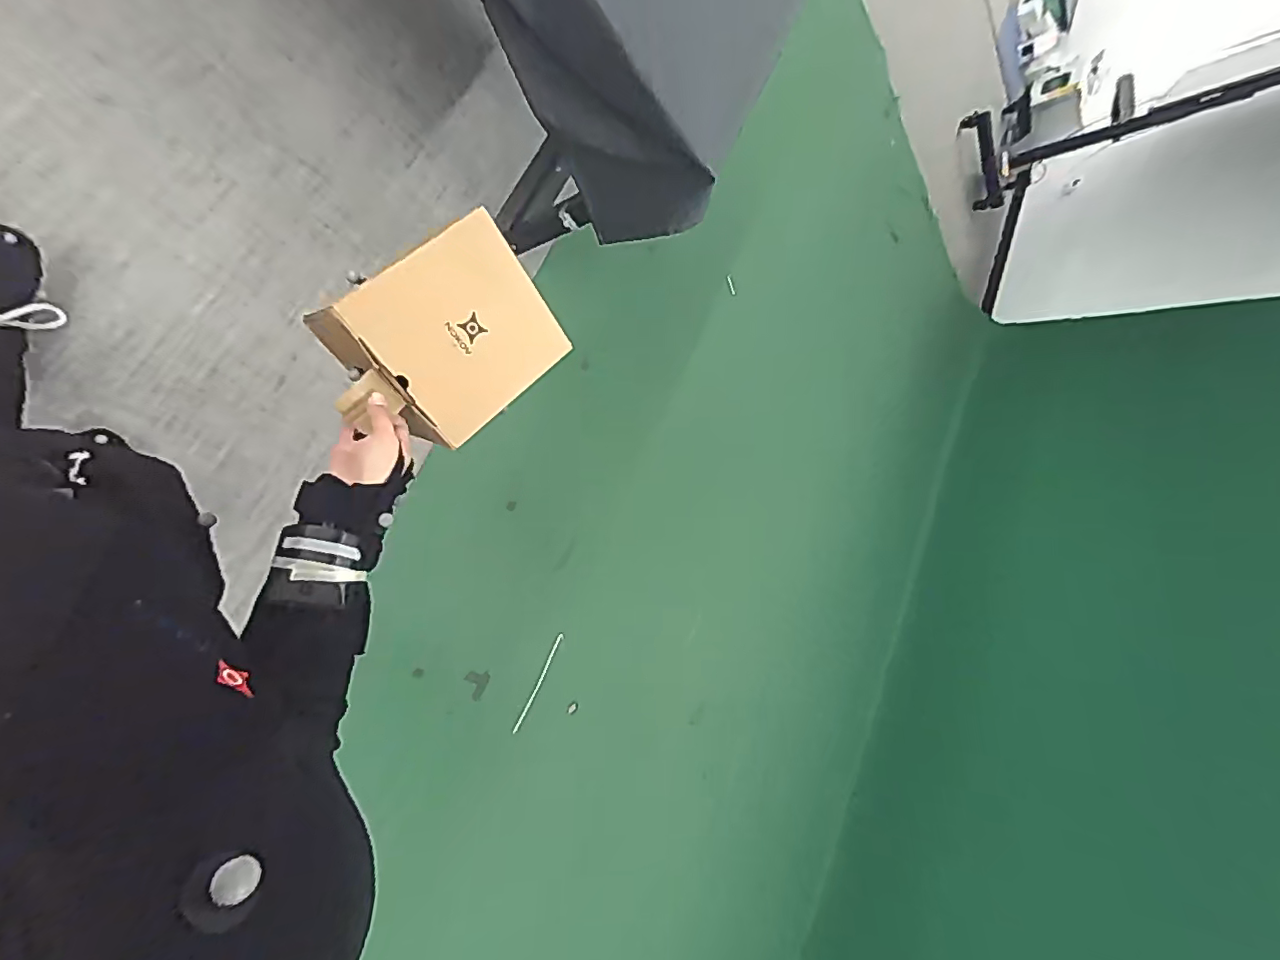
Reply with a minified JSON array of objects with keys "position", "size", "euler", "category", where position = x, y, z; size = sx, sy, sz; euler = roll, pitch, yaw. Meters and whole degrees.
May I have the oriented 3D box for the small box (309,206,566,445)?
[{"position":[-0.221,-0.165,0.588],"size":[0.179,0.176,0.168],"euler":[-47,126,-21],"category":"small box"}]
